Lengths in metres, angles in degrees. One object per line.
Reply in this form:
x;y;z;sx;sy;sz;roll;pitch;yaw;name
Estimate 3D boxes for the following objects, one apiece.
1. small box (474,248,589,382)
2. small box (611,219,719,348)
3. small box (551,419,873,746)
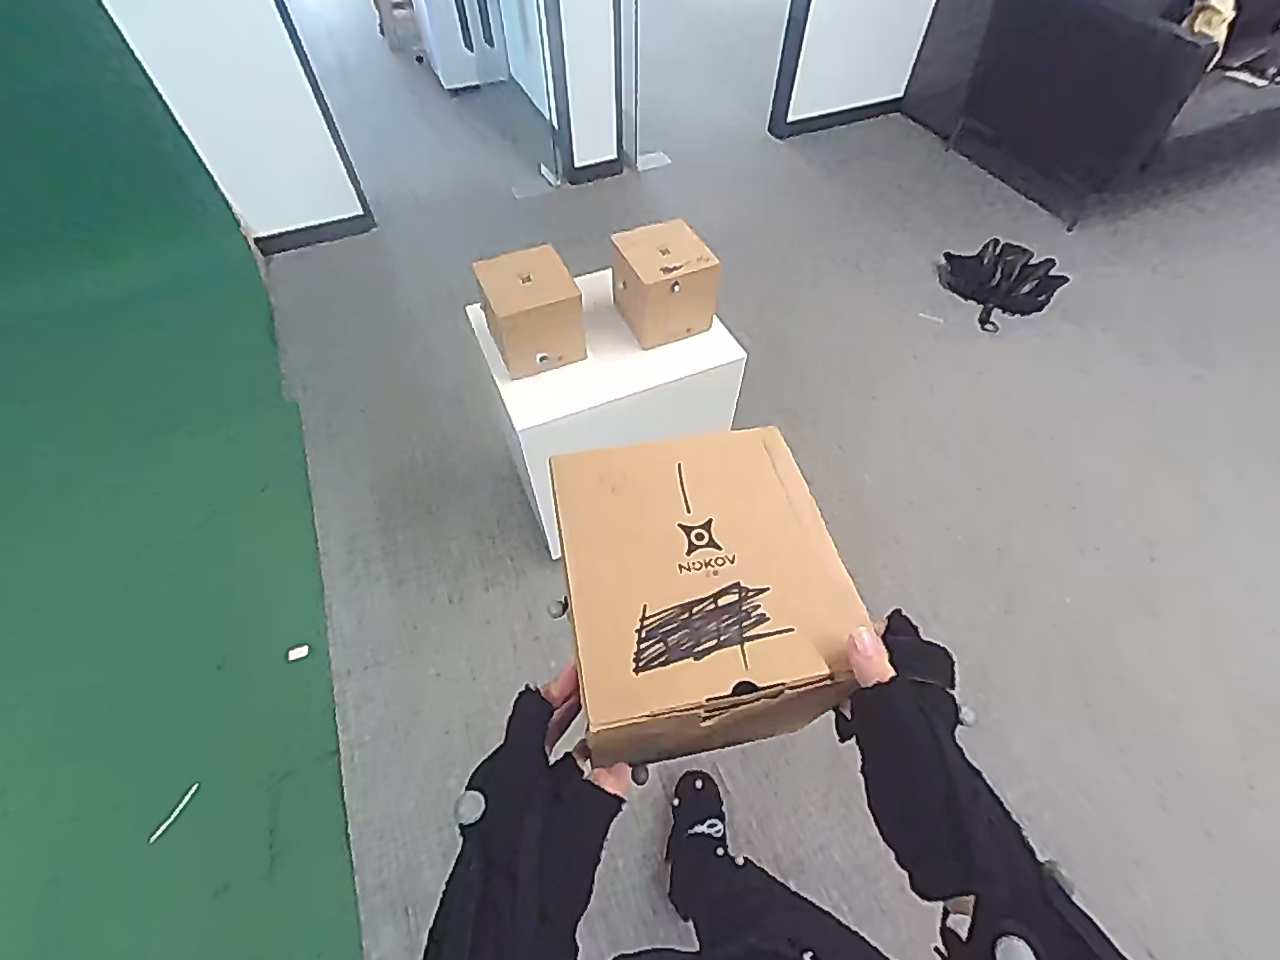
-0.214;-0.330;1.091;0.168;0.176;0.179;-23;60;-13;small box
0.048;-0.411;1.139;0.168;0.176;0.179;-22;58;-12;small box
0.033;0.084;0.400;0.168;0.176;0.179;-9;55;-8;small box
